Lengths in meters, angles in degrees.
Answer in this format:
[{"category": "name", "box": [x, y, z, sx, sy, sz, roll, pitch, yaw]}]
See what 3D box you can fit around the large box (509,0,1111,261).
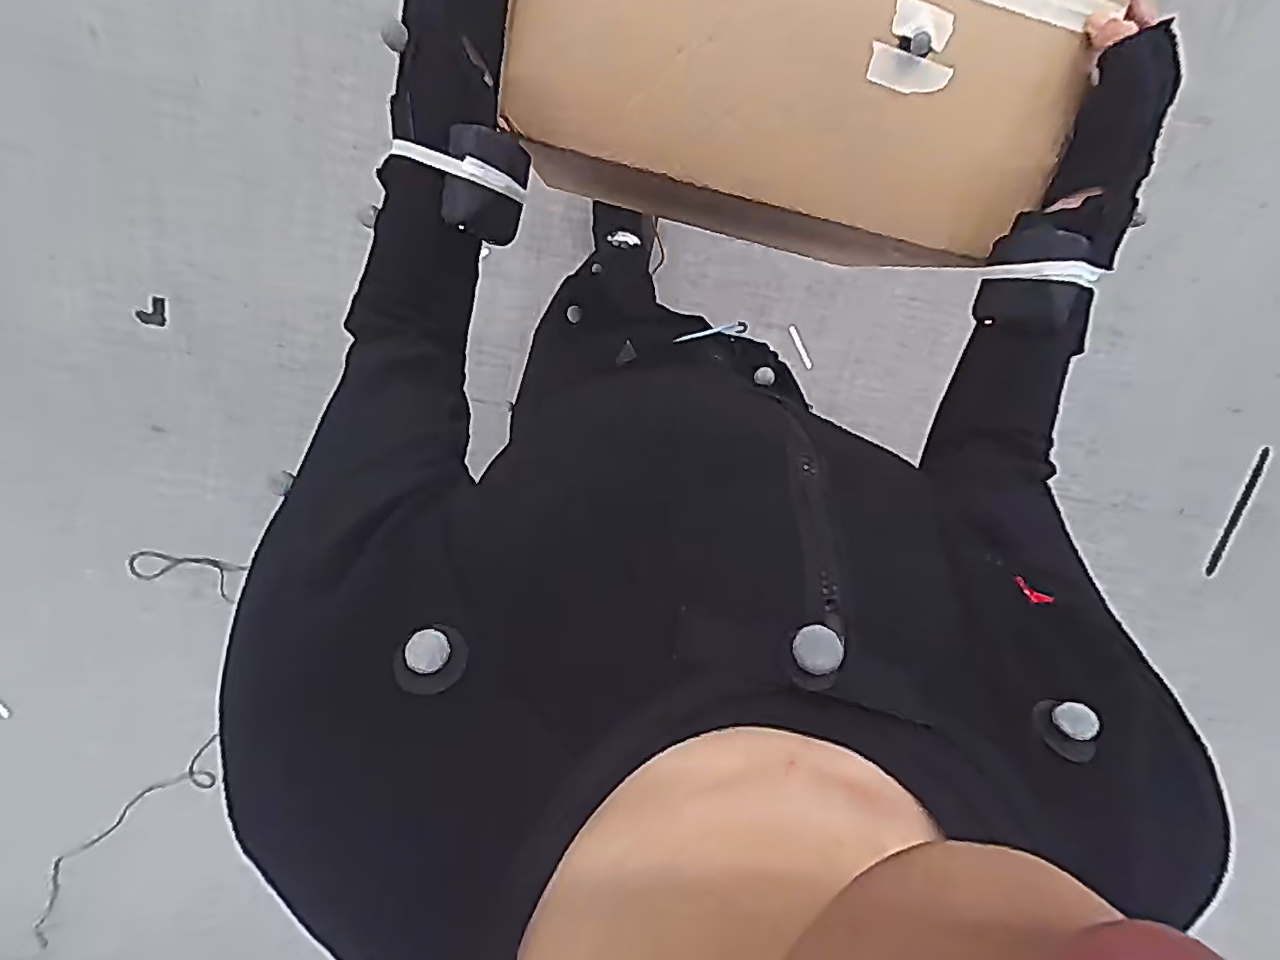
[{"category": "large box", "box": [0.117, -0.404, 0.495, 0.408, 0.320, 0.320, 10, 112, -9]}]
